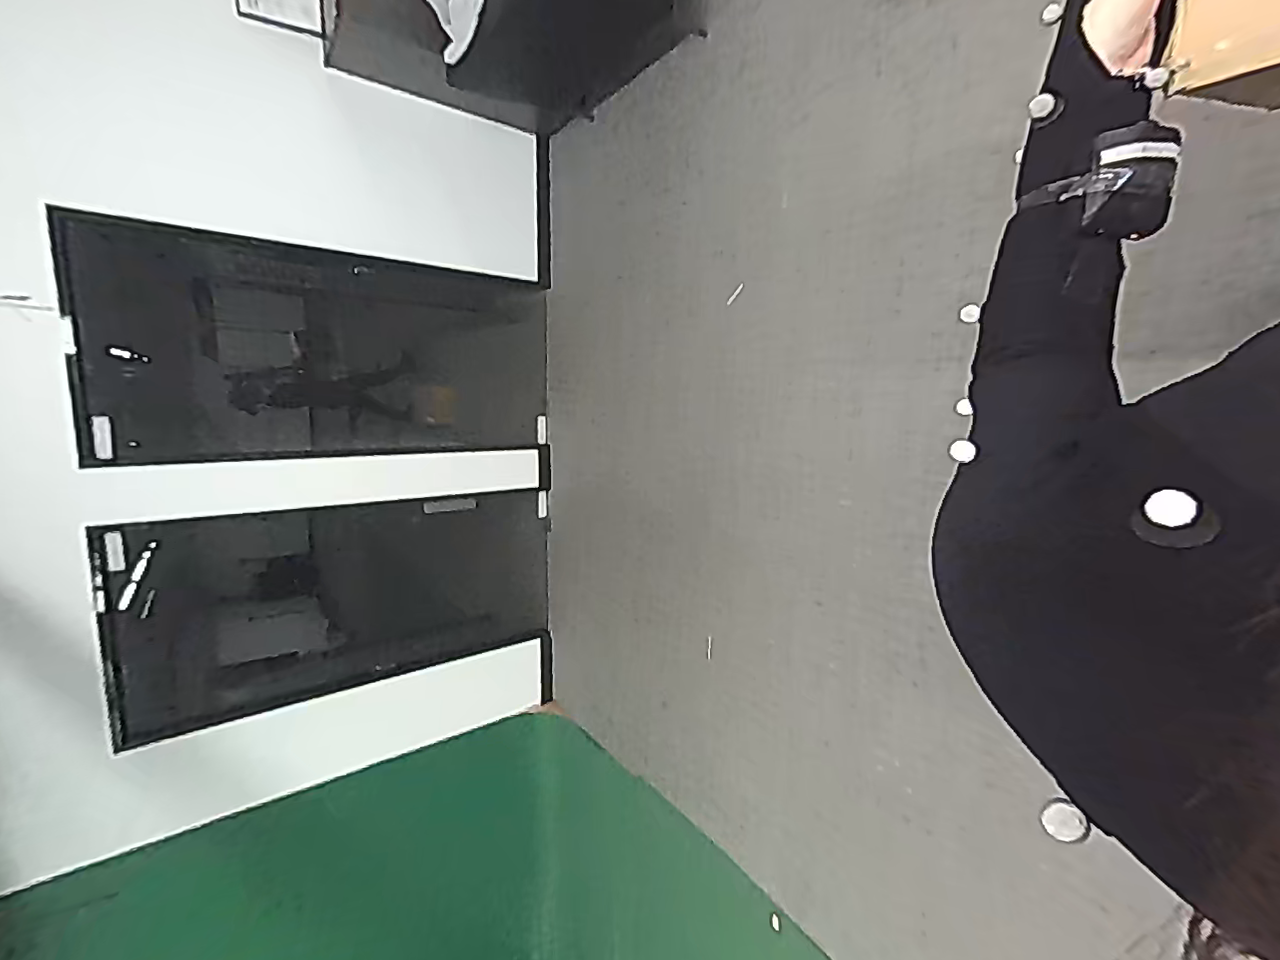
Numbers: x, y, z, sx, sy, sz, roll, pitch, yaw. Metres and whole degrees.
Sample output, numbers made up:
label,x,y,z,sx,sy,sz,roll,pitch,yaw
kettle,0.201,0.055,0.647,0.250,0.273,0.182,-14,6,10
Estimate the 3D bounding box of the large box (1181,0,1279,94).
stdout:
label,x,y,z,sx,sy,sz,roll,pitch,yaw
large box,0.582,-0.434,0.244,0.408,0.320,0.320,16,121,56
